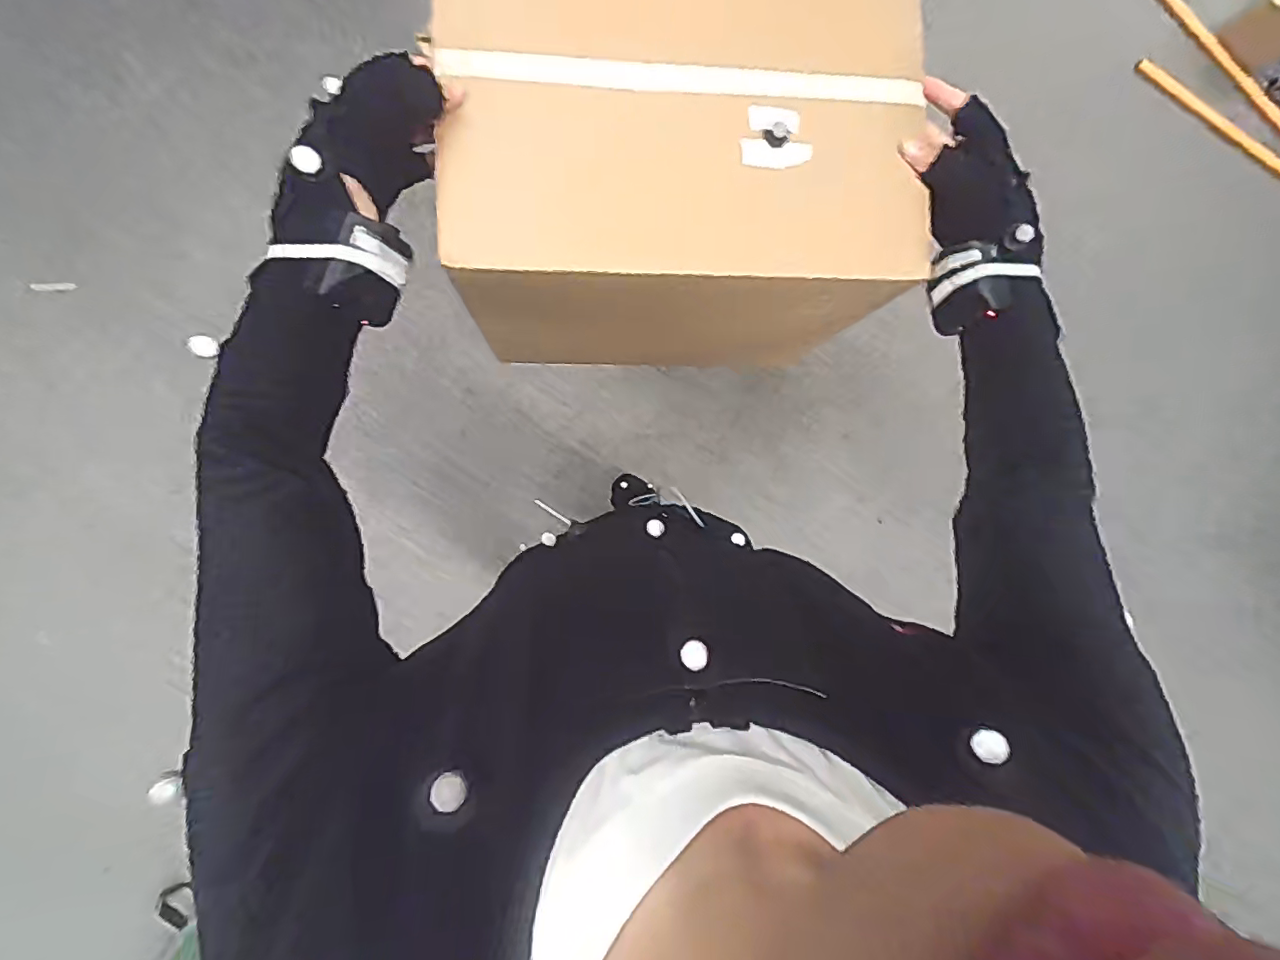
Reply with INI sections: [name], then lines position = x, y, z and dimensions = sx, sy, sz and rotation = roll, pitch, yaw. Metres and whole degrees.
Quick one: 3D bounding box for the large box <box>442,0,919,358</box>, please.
[large box]
position = 0.021, -0.328, 0.599
dimensions = 0.408, 0.320, 0.320
rotation = -3, 90, -8
